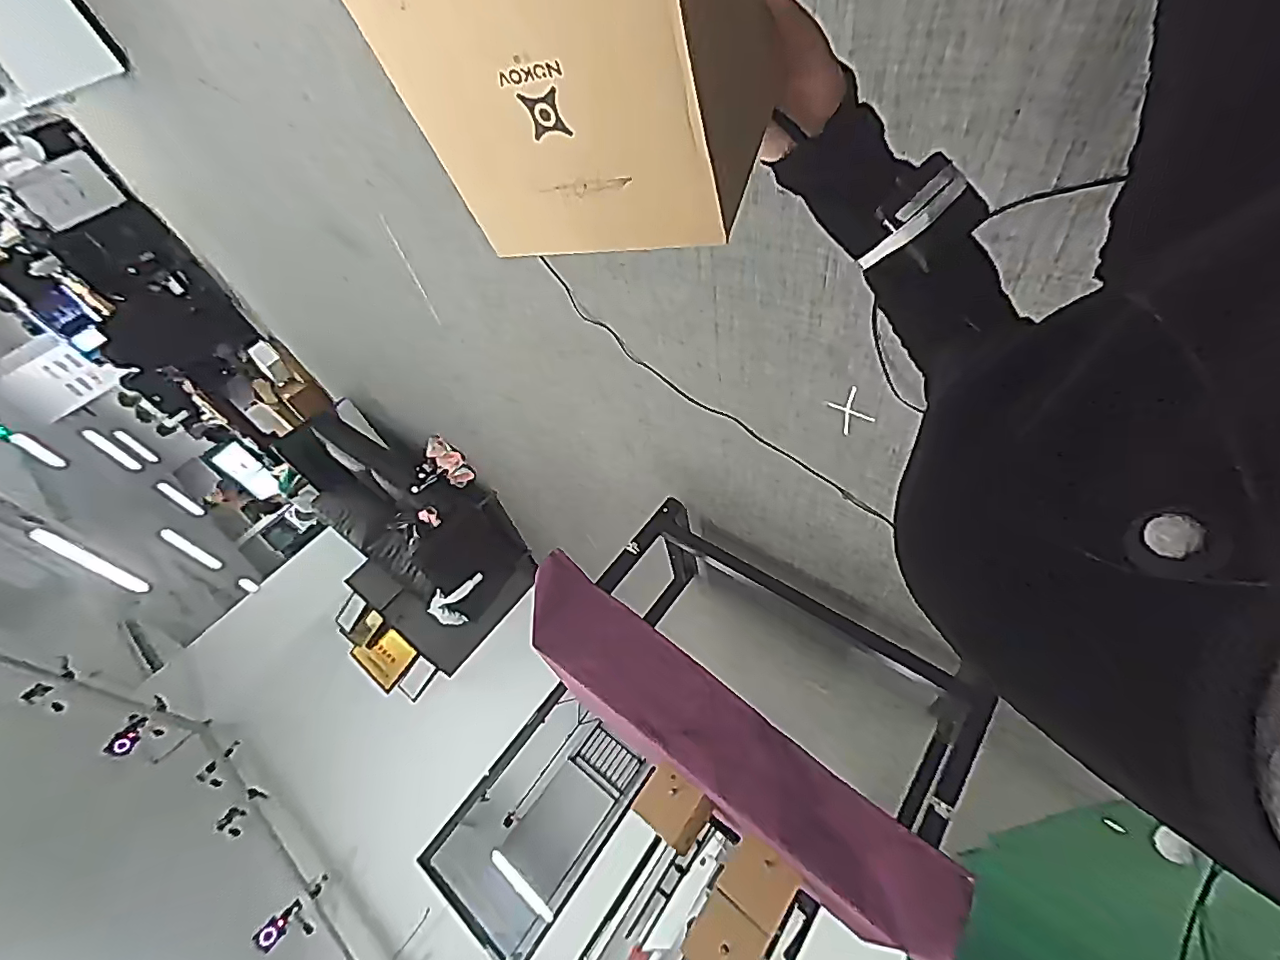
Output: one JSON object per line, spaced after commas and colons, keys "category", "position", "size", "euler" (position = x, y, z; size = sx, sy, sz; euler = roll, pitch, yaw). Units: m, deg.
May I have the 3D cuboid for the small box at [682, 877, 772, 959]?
{"category": "small box", "position": [0.240, 1.213, 1.465], "size": [0.179, 0.176, 0.168], "euler": [26, 152, 31]}

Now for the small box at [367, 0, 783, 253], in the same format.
{"category": "small box", "position": [-0.018, -0.263, 0.315], "size": [0.168, 0.176, 0.179], "euler": [8, 154, 23]}

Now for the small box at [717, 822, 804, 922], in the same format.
{"category": "small box", "position": [0.341, 1.101, 1.530], "size": [0.179, 0.176, 0.168], "euler": [27, 153, 31]}

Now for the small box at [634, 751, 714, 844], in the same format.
{"category": "small box", "position": [0.113, 0.985, 1.685], "size": [0.168, 0.176, 0.179], "euler": [23, 150, 36]}
